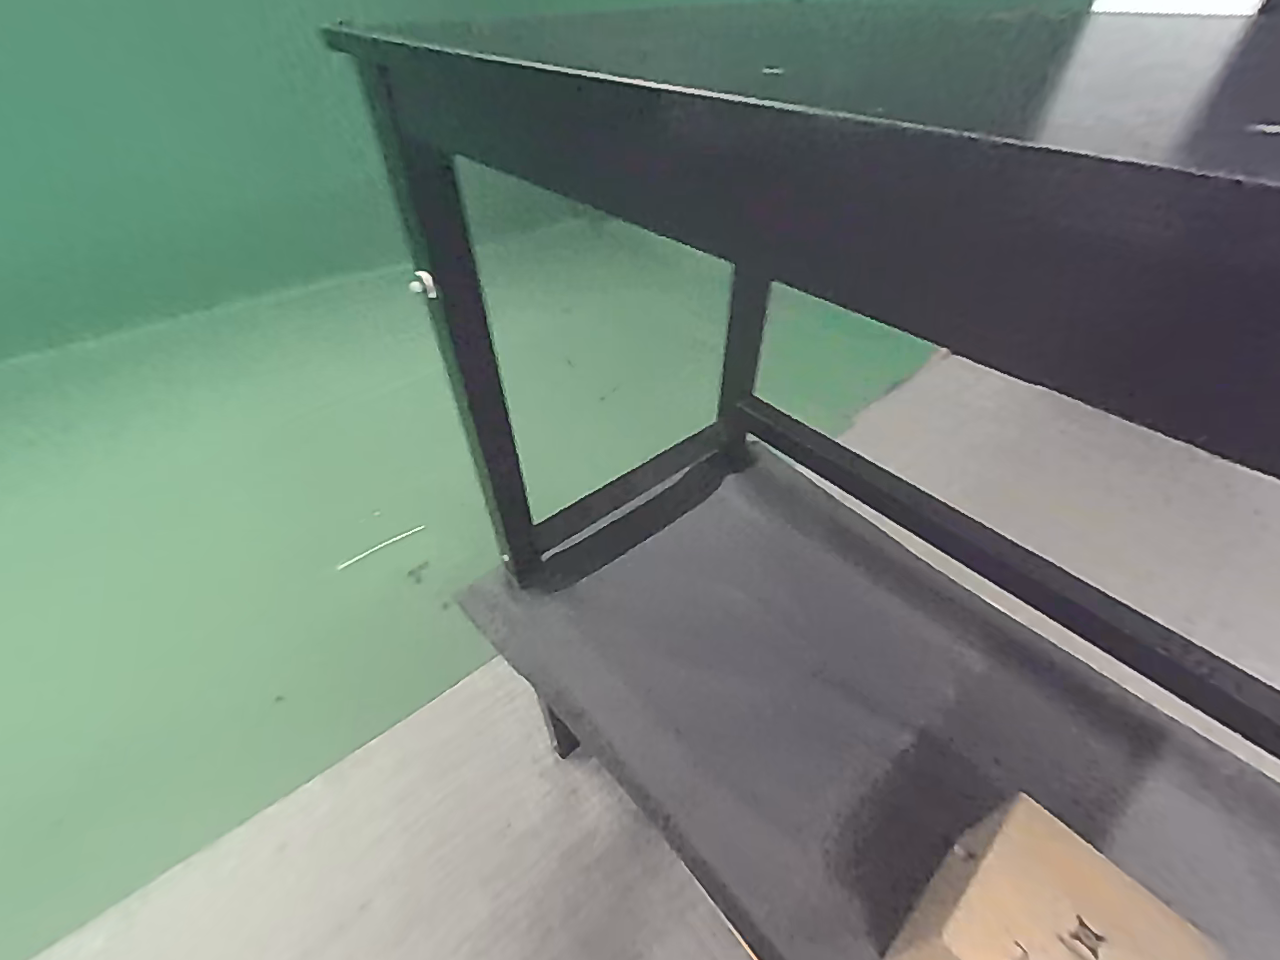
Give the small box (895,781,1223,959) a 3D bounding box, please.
[{"bbox_3d":[0.376,0.439,0.514,0.179,0.176,0.168,-30,49,-29],"label":"small box"}]
